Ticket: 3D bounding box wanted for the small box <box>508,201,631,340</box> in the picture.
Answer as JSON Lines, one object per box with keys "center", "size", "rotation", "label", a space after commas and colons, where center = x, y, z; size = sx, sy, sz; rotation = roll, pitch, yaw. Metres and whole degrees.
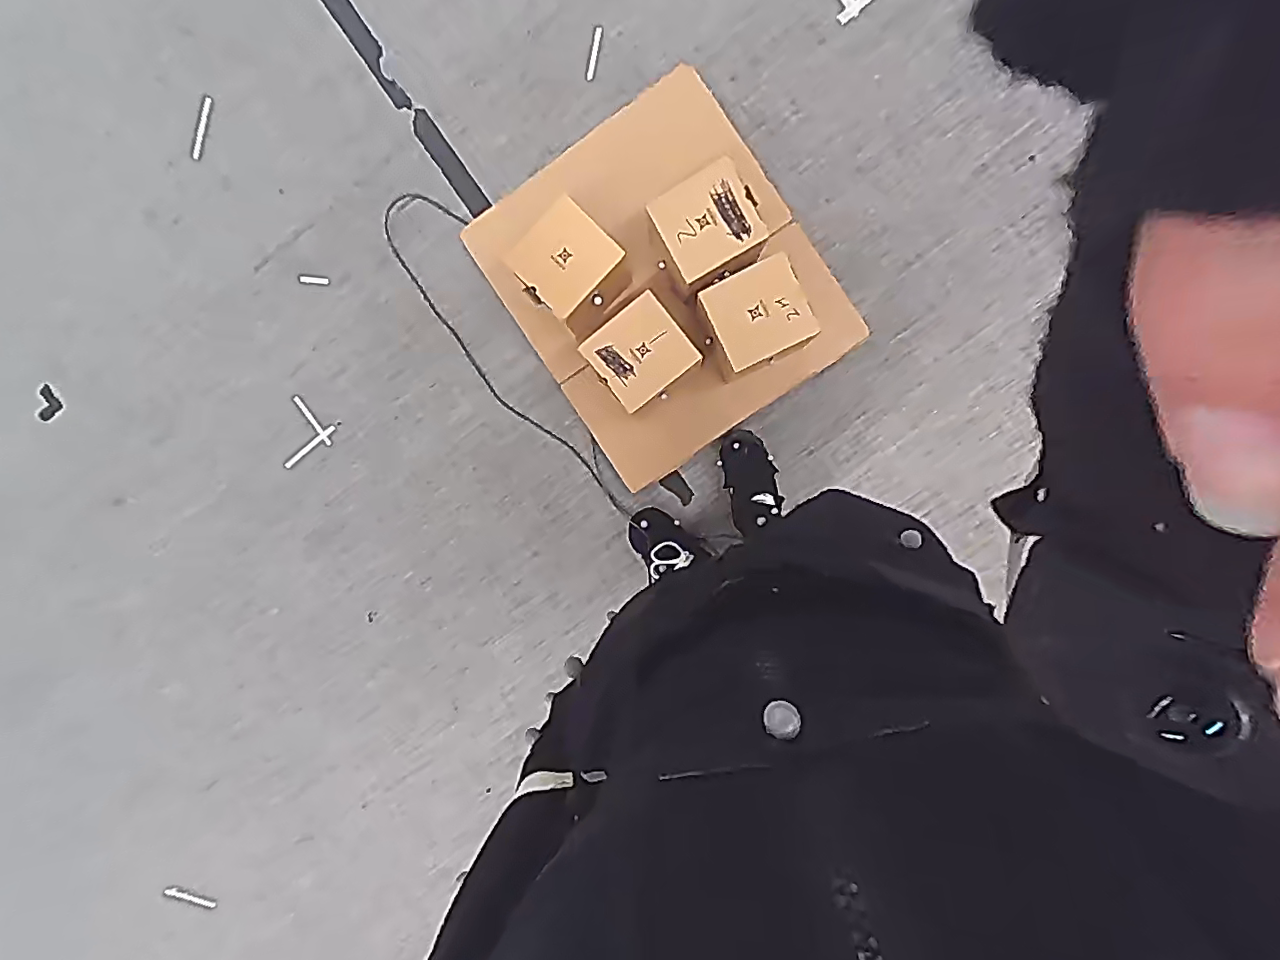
{"center": [-0.132, -0.414, 1.101], "size": [0.168, 0.176, 0.179], "rotation": [44, 96, 1], "label": "small box"}
